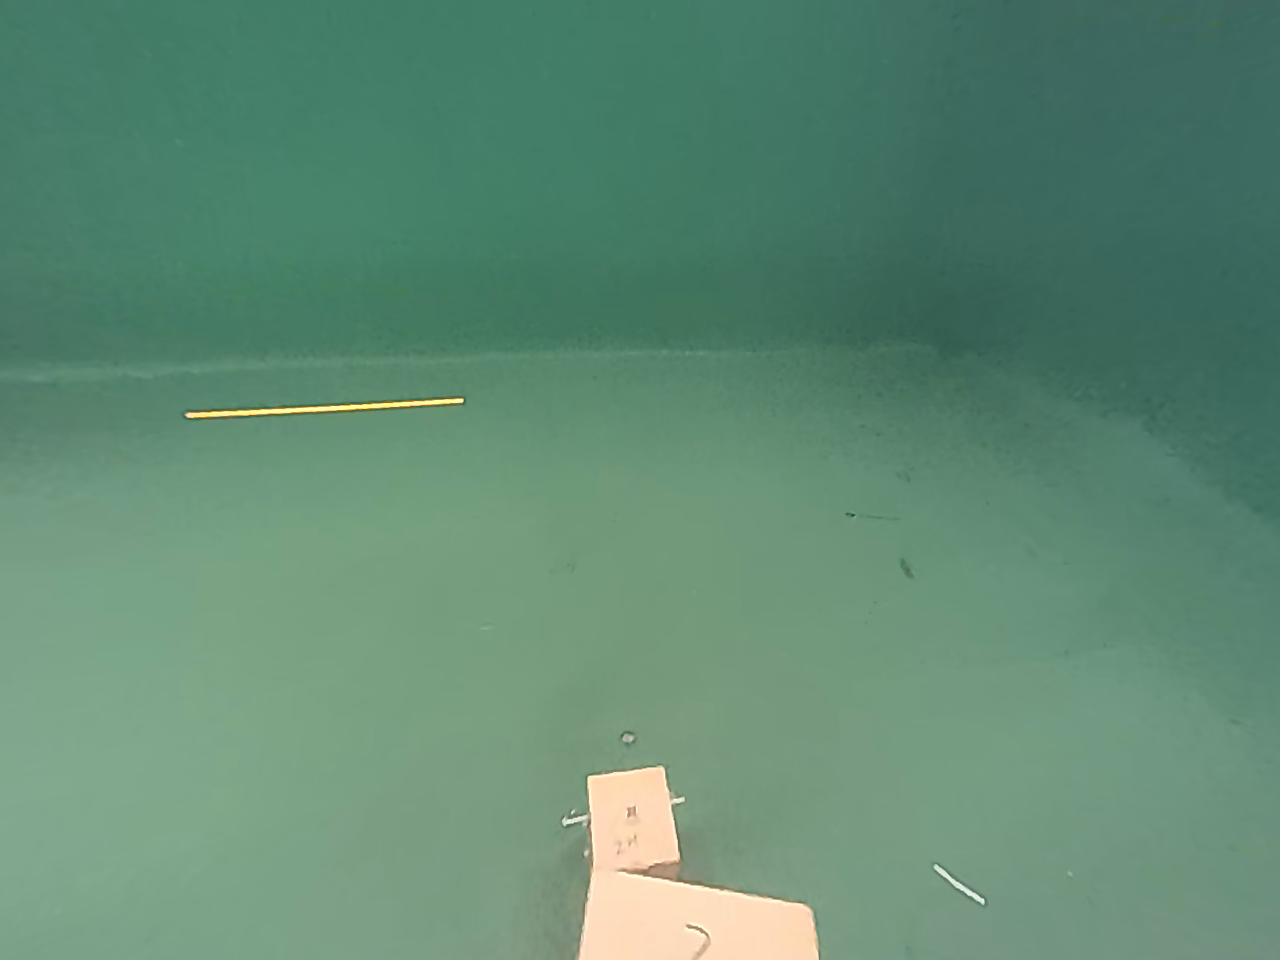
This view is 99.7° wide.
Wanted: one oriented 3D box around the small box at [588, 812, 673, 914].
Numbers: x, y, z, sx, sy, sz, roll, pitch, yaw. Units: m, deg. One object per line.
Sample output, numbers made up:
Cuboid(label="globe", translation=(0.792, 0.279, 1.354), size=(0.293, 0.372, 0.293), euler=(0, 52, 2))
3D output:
Cuboid(label="small box", translation=(-0.026, 0.858, 1.233), size=(0.168, 0.176, 0.179), euler=(-5, 40, -10))

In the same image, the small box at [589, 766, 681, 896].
Cuboid(label="small box", translation=(-0.019, 0.730, 1.127), size=(0.168, 0.176, 0.179), euler=(-3, 40, -8))
